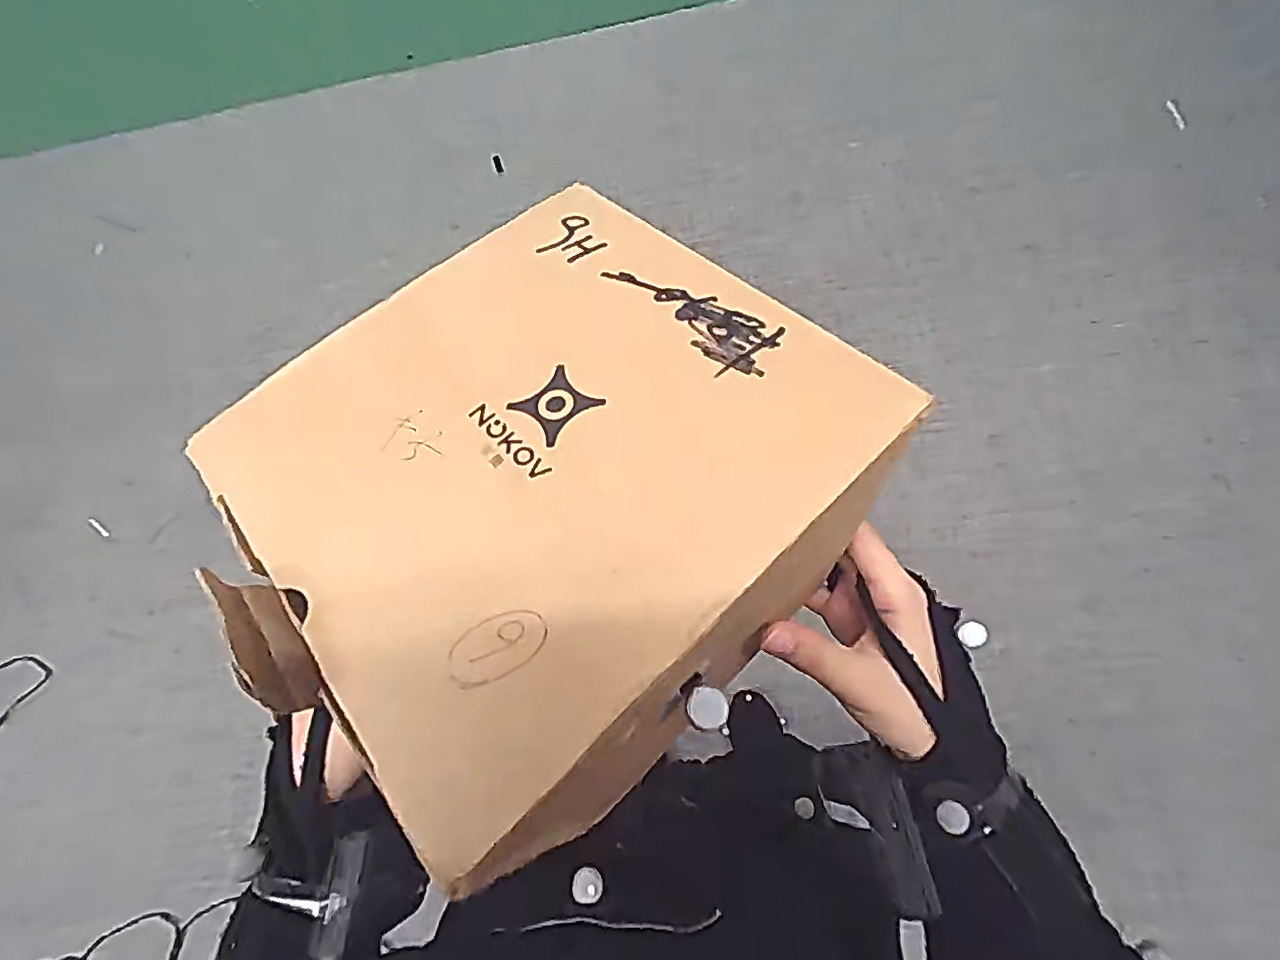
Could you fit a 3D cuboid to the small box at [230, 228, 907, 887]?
[{"bbox_3d":[-0.021,0.032,0.249,0.179,0.176,0.168,-41,65,-15],"label":"small box"}]
